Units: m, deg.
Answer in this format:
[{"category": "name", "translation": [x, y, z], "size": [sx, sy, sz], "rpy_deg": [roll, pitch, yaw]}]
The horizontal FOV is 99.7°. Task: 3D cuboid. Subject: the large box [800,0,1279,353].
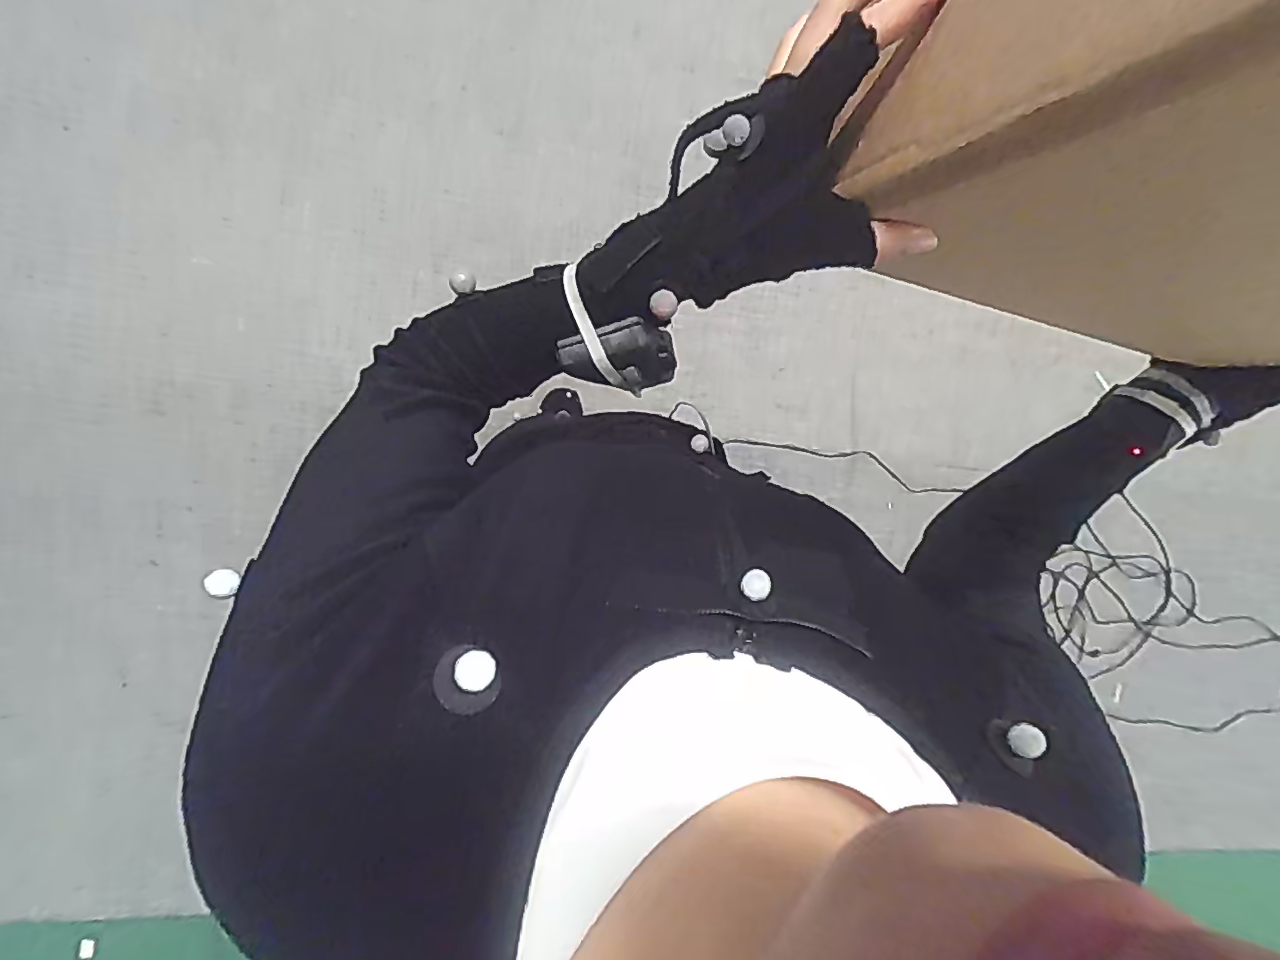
[{"category": "large box", "translation": [0.341, -0.247, 0.228], "size": [0.408, 0.320, 0.320], "rpy_deg": [7, 99, -19]}]
